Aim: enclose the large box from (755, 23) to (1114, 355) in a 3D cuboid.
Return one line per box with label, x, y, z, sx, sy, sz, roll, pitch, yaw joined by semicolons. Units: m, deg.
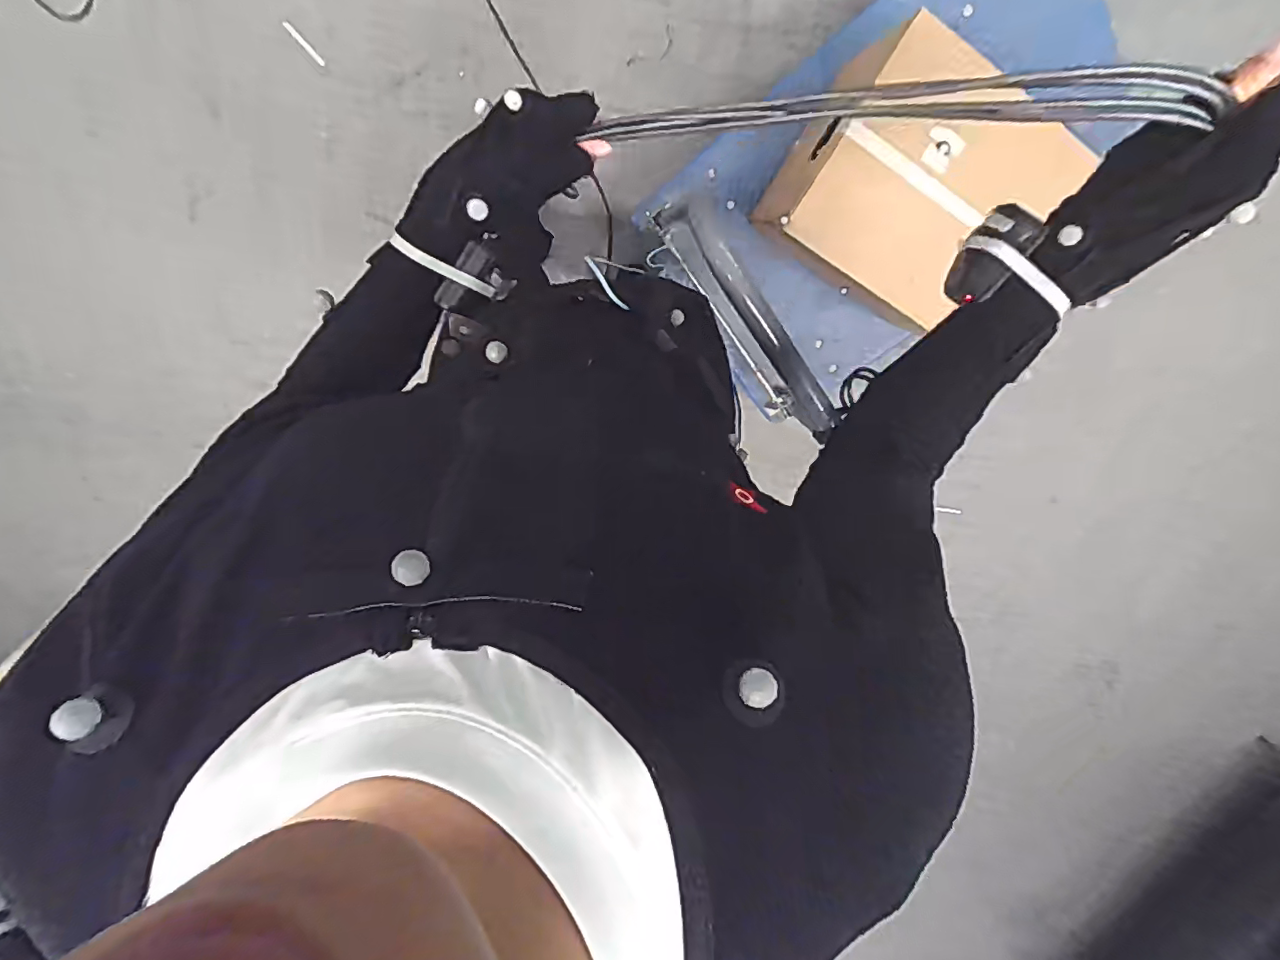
large box;0.475;-0.485;0.966;0.408;0.320;0.320;29;113;-12
